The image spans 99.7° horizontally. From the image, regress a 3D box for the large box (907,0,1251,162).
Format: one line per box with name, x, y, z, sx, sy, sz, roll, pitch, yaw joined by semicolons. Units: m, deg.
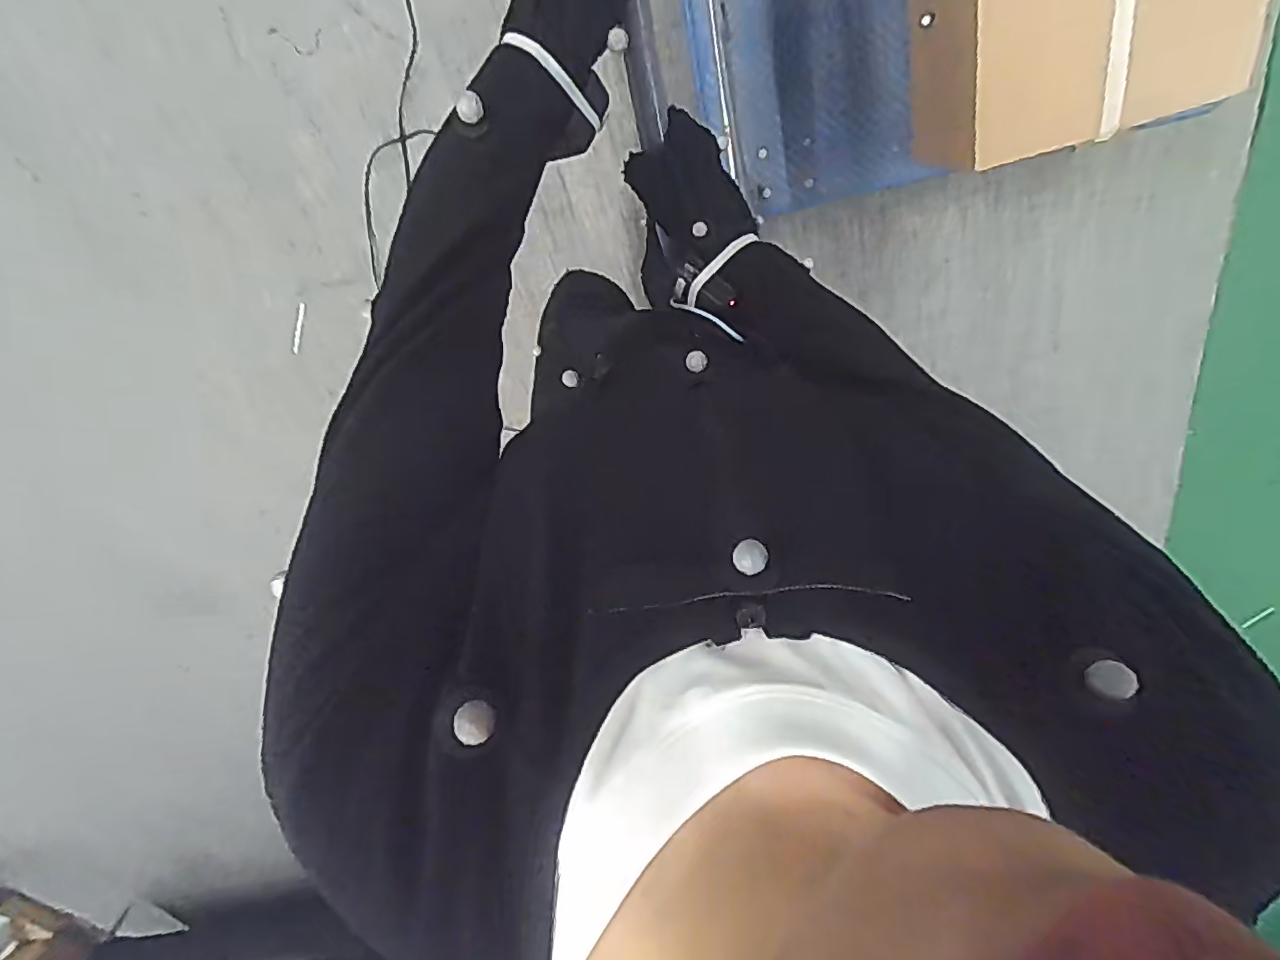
large box;0.579;-0.725;0.762;0.320;0.320;0.408;-11;120;15
